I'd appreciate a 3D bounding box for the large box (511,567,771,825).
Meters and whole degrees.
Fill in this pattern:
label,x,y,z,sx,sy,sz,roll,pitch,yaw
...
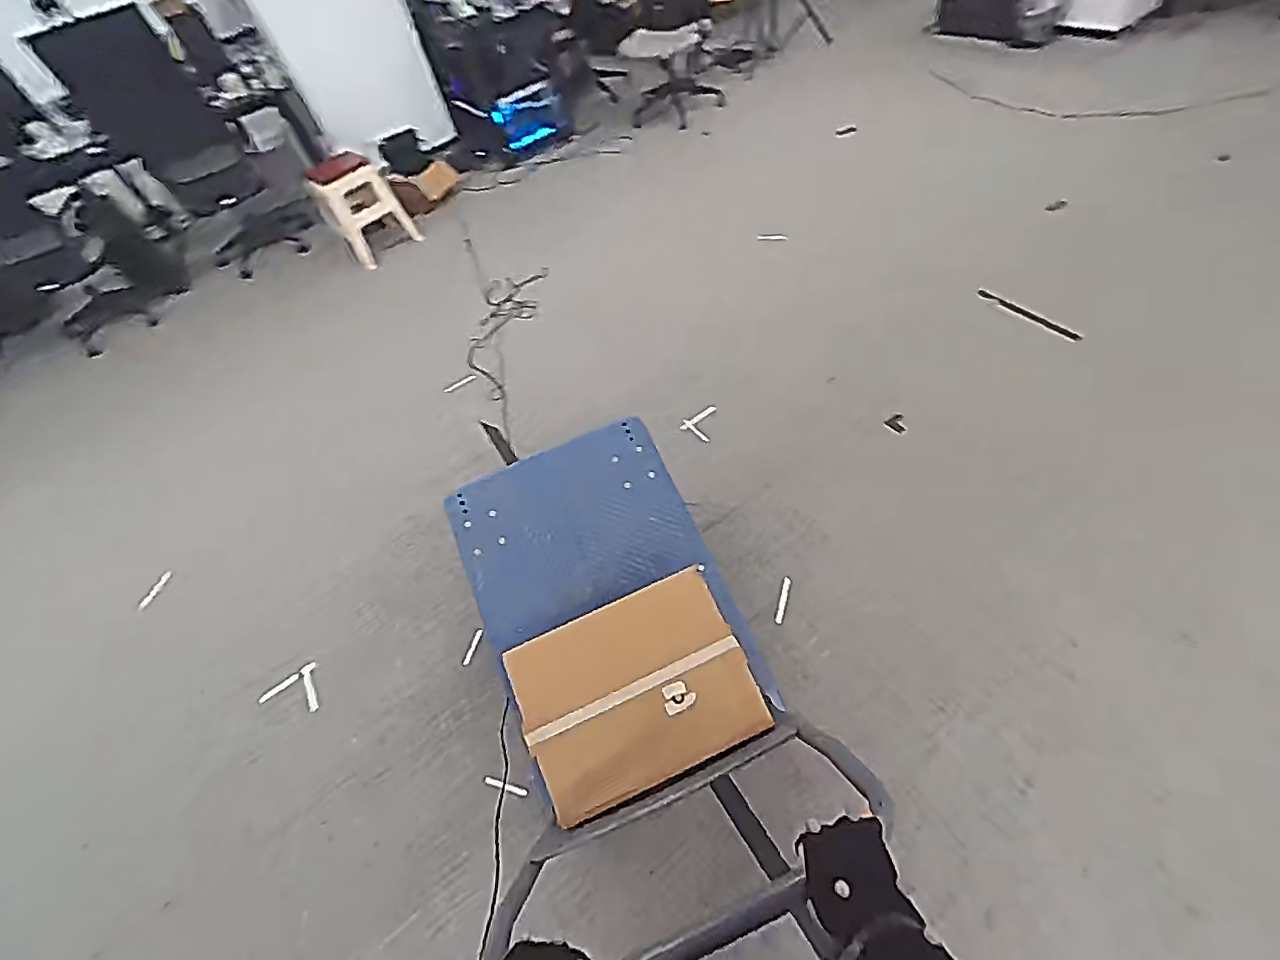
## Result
label,x,y,z,sx,sy,sz,roll,pitch,yaw
large box,0.001,0.433,1.128,0.408,0.320,0.320,-24,71,-6
